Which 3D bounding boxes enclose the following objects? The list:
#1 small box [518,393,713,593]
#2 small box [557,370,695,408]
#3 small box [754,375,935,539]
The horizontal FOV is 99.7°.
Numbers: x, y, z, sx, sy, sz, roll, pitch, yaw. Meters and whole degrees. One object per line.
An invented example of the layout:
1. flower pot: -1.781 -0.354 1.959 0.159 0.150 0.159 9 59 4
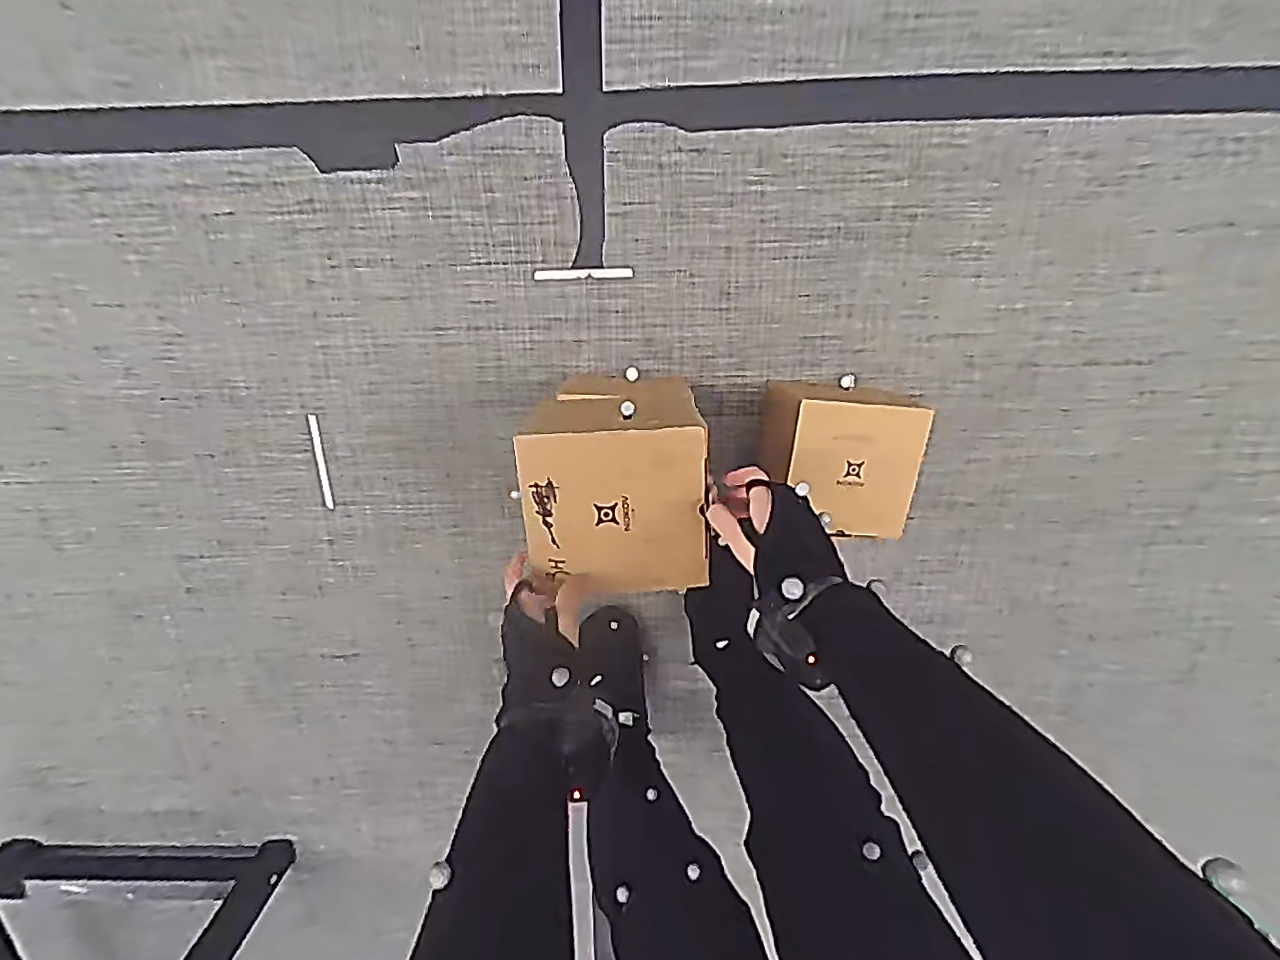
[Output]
1. small box: -0.023 0.003 0.576 0.179 0.176 0.168 -3 108 -1
2. small box: -0.020 -0.047 0.734 0.168 0.176 0.179 2 108 -2
3. small box: 0.262 -0.038 0.742 0.168 0.176 0.179 5 108 -3
